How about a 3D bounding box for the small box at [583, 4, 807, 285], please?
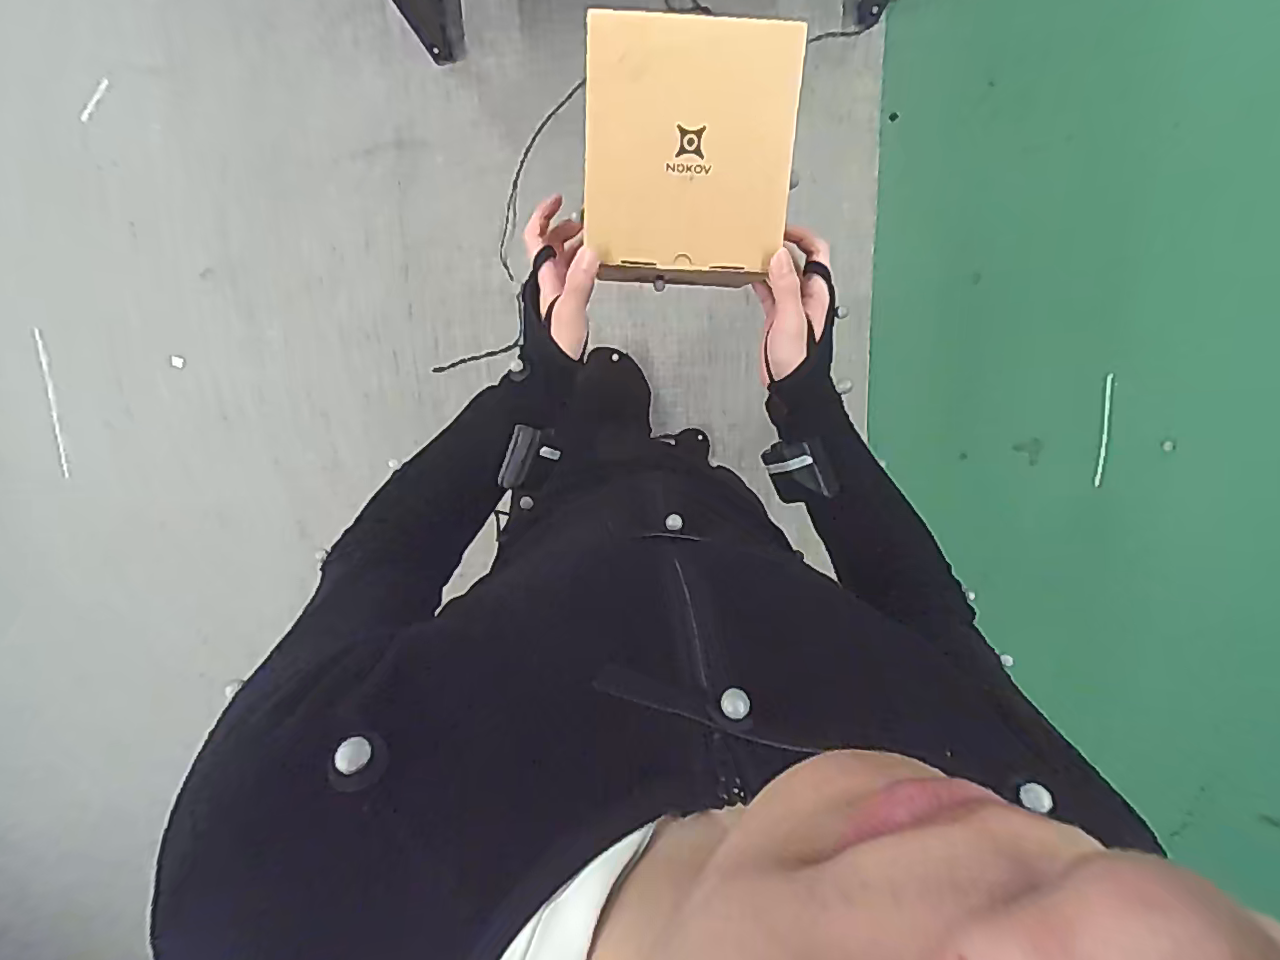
[{"bbox_3d":[0.036,-0.281,0.496,0.168,0.176,0.179,2,107,-2],"label":"small box"}]
